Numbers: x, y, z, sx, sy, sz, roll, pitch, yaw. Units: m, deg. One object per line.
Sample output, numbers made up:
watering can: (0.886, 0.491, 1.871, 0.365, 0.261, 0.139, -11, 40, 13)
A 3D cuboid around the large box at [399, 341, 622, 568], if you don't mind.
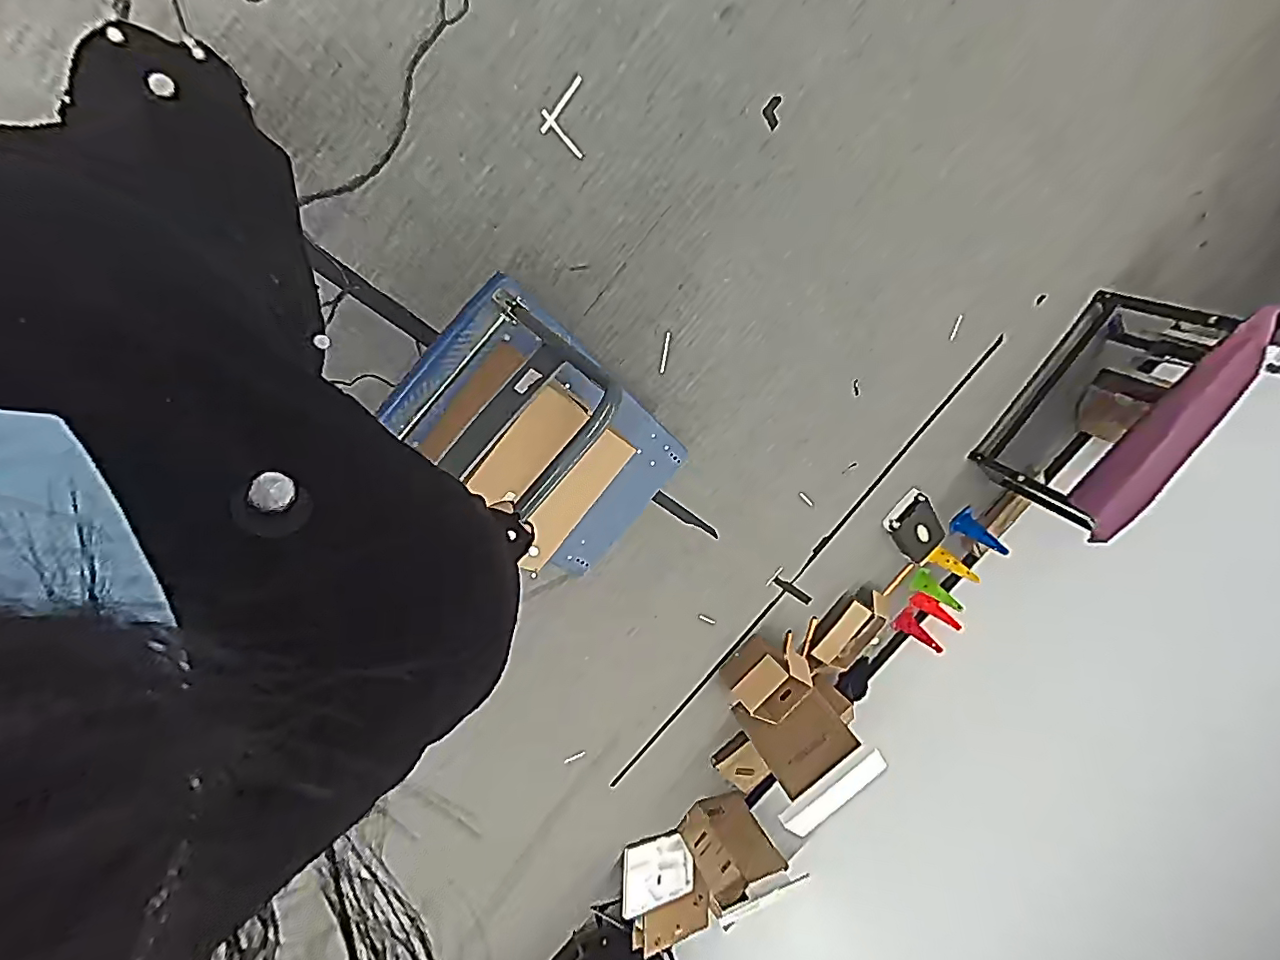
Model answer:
large box: (-0.327, -0.062, 1.345, 0.408, 0.320, 0.320, -51, 133, 6)
